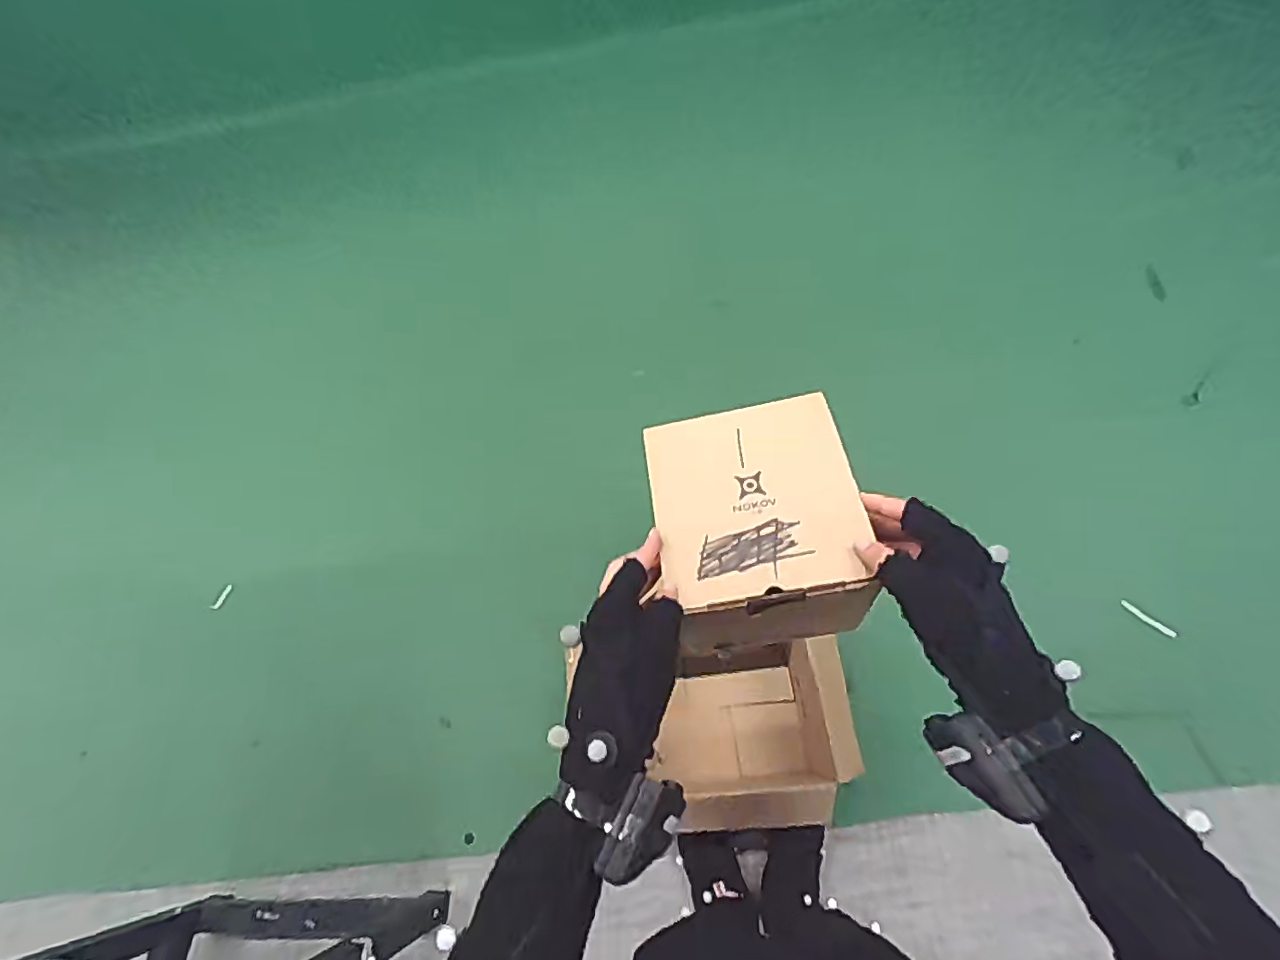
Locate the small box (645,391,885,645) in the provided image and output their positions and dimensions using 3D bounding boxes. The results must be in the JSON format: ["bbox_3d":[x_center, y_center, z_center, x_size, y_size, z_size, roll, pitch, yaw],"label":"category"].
[{"bbox_3d":[0.107,0.048,0.507,0.168,0.176,0.179,-11,60,7],"label":"small box"}]
